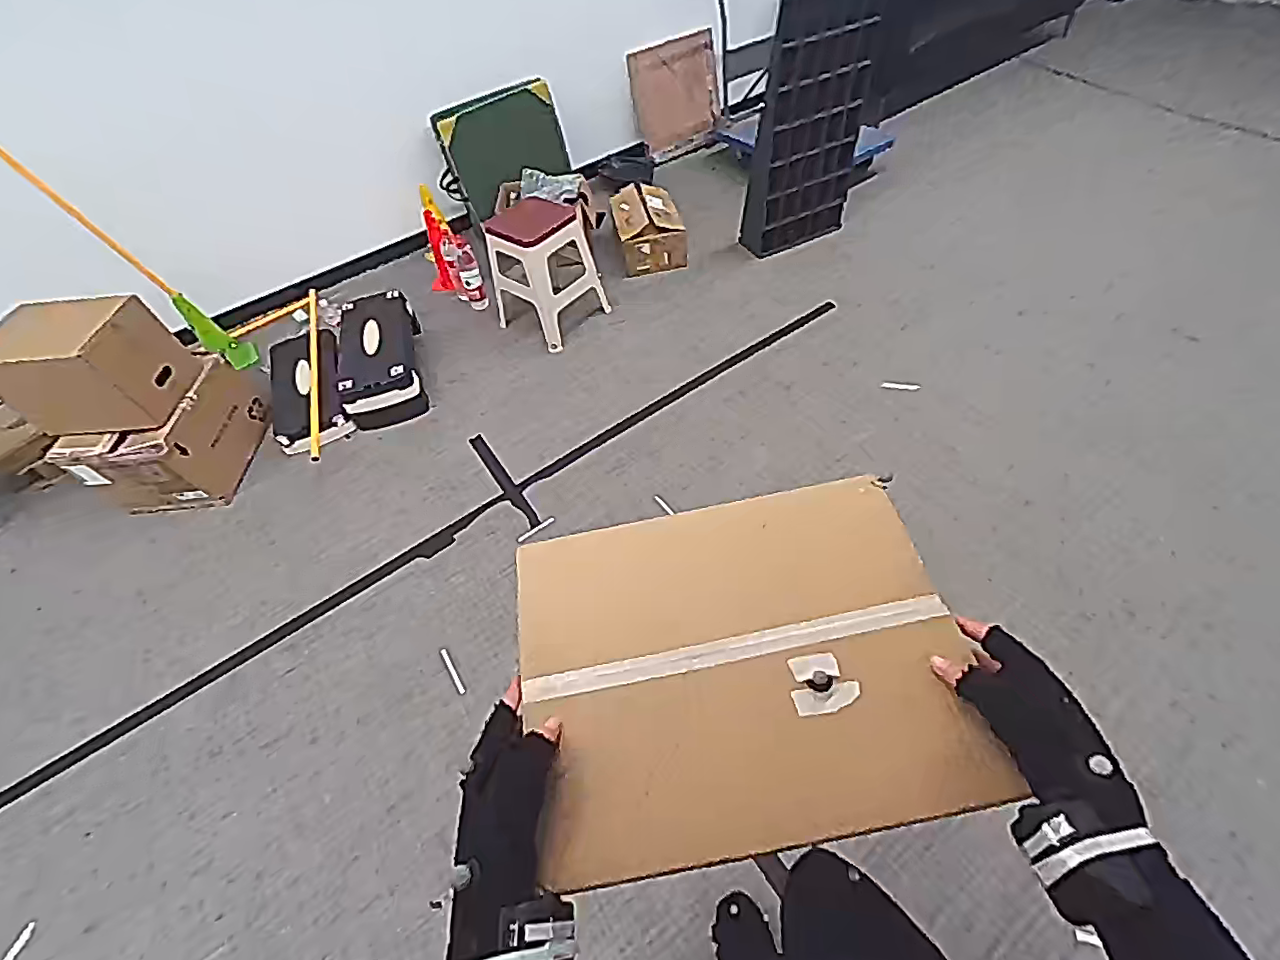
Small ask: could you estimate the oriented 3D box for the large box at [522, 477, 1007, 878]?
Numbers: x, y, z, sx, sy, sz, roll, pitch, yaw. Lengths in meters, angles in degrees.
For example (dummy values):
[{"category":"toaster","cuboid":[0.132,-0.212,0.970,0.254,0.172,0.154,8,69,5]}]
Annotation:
[{"category":"large box","cuboid":[0.102,0.244,0.648,0.408,0.320,0.320,-12,56,0]}]
